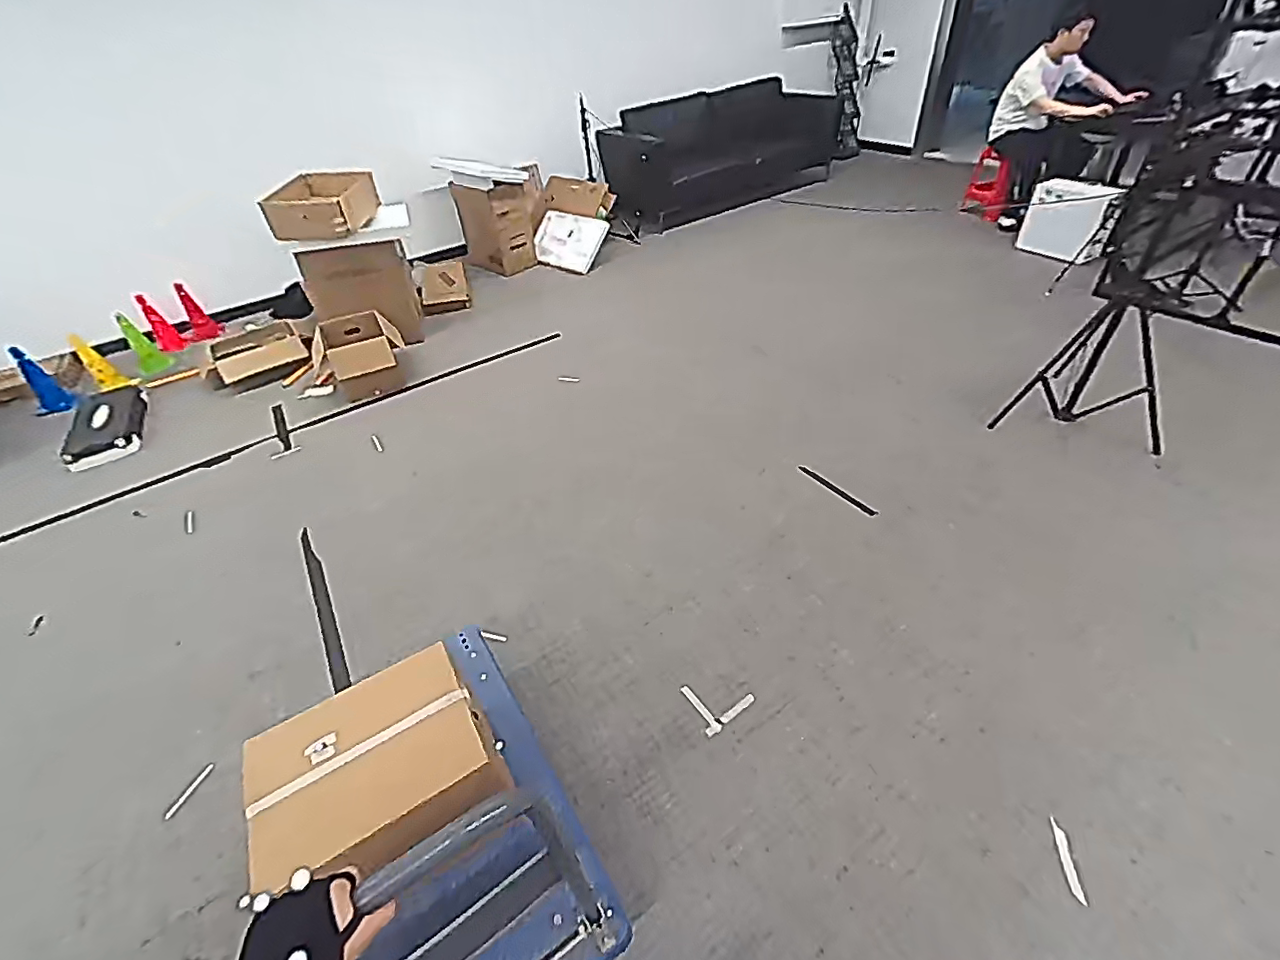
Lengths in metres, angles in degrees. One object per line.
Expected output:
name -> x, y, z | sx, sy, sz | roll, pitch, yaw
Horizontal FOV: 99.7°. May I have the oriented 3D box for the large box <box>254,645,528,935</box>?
large box -> -0.506, 0.639, 1.144 | 0.408, 0.320, 0.320 | -26, 44, -20
